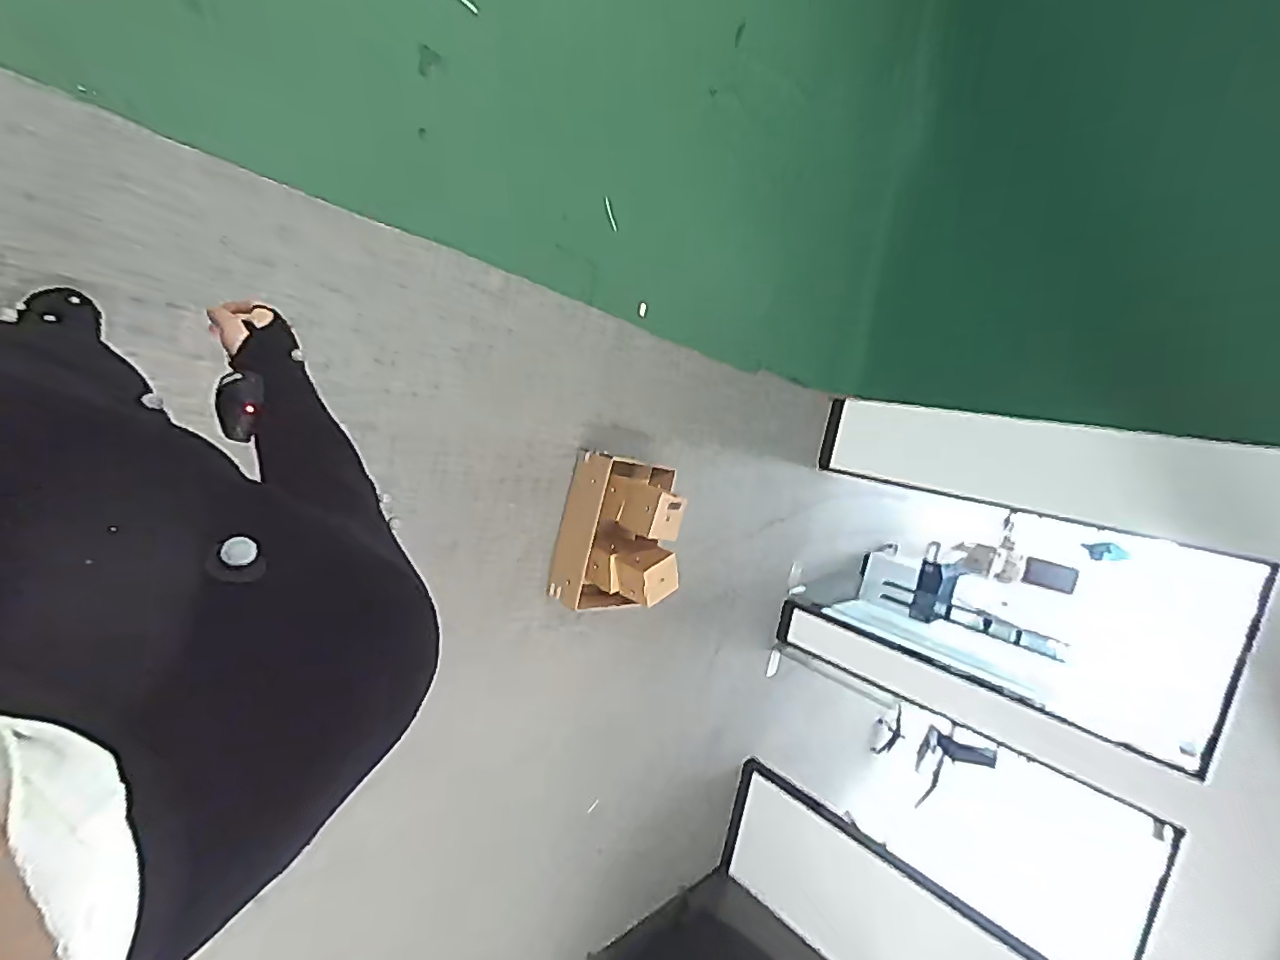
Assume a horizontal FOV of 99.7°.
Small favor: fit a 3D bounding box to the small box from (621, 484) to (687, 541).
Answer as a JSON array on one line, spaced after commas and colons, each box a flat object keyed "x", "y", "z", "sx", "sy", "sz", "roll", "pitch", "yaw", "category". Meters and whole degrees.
[{"x": 0.050, "y": 0.122, "z": 2.069, "sx": 0.168, "sy": 0.176, "sz": 0.179, "roll": 13, "pitch": 94, "yaw": -47, "category": "small box"}]

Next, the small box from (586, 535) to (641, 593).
[{"x": -0.107, "y": 0.339, "z": 2.217, "sx": 0.179, "sy": 0.176, "sz": 0.168, "roll": -14, "pitch": 112, "yaw": -42, "category": "small box"}]

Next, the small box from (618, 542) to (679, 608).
[{"x": 0.029, "y": 0.369, "z": 2.126, "sx": 0.179, "sy": 0.176, "sz": 0.168, "roll": -26, "pitch": 120, "yaw": -38, "category": "small box"}]
